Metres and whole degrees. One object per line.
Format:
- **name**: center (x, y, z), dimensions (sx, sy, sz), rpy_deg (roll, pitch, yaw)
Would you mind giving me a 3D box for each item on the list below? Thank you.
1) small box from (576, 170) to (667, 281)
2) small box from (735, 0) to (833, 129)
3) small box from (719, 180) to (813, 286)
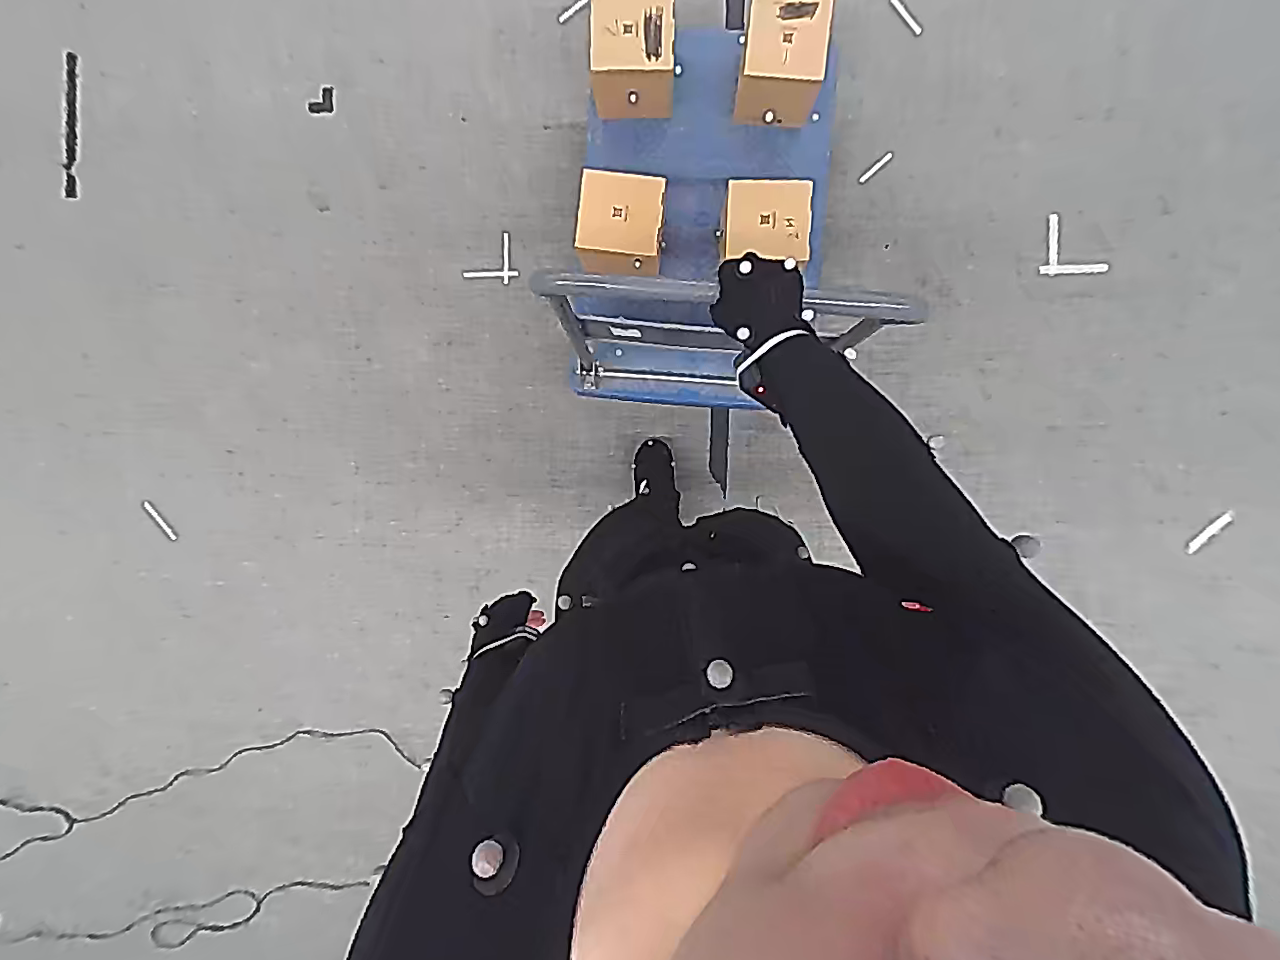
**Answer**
- **small box**: center (-0.038, -0.560, 1.210), dimensions (0.179, 0.176, 0.168), rpy_deg (7, 92, 0)
- **small box**: center (0.306, -0.912, 1.183), dimensions (0.168, 0.176, 0.179), rpy_deg (6, 94, 2)
- **small box**: center (0.270, -0.540, 1.200), dimensions (0.179, 0.176, 0.168), rpy_deg (2, 93, 2)
